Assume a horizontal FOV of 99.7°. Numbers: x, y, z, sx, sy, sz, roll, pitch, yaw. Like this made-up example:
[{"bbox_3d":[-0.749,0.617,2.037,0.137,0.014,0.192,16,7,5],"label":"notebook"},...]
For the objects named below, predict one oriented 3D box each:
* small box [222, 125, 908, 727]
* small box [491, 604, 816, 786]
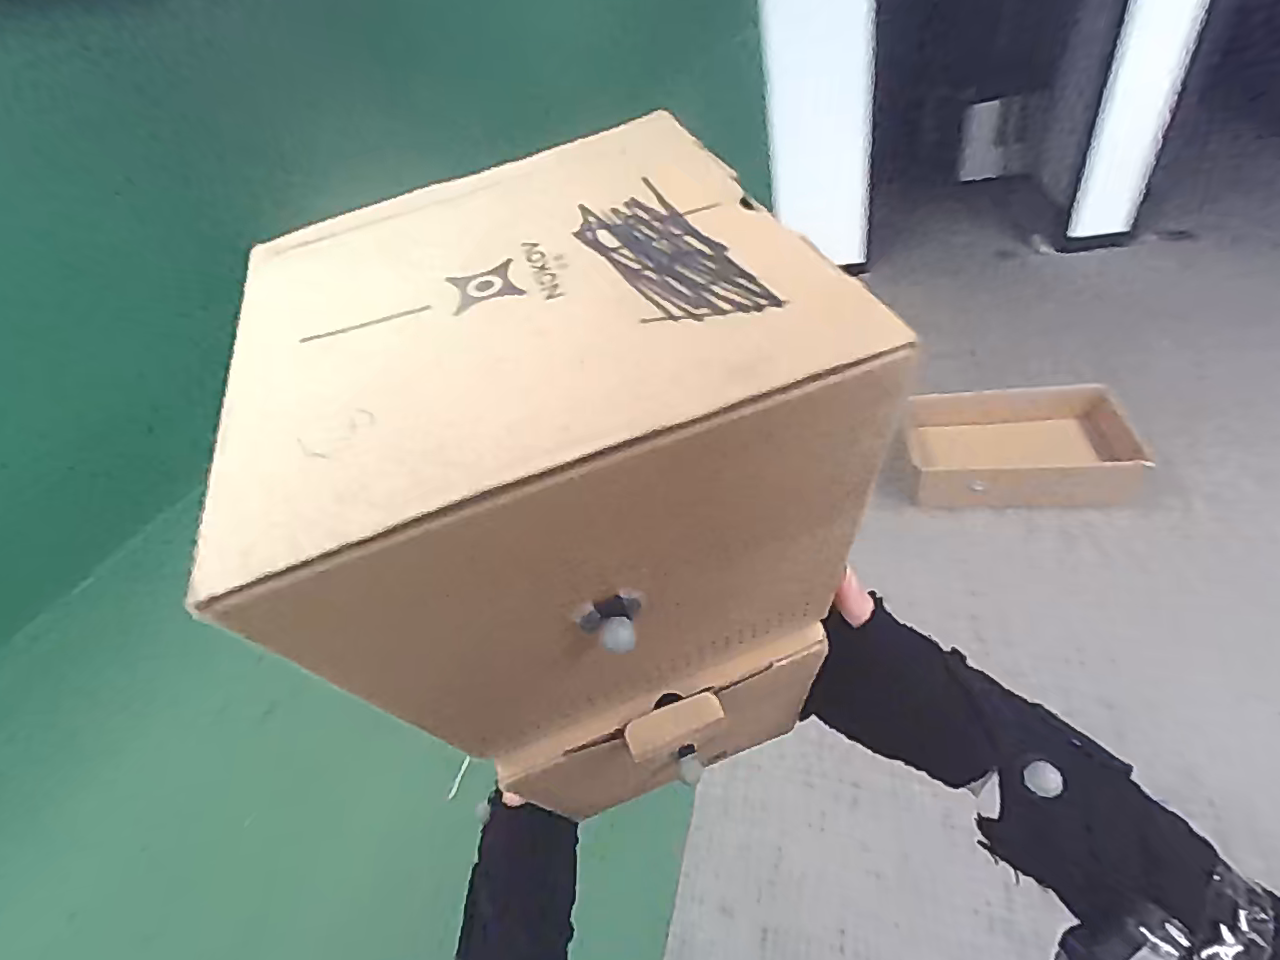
[{"bbox_3d":[-0.026,-0.016,0.239,0.179,0.176,0.168,-19,53,-4],"label":"small box"},{"bbox_3d":[-0.003,0.087,0.366,0.168,0.176,0.179,-18,53,-5],"label":"small box"}]
